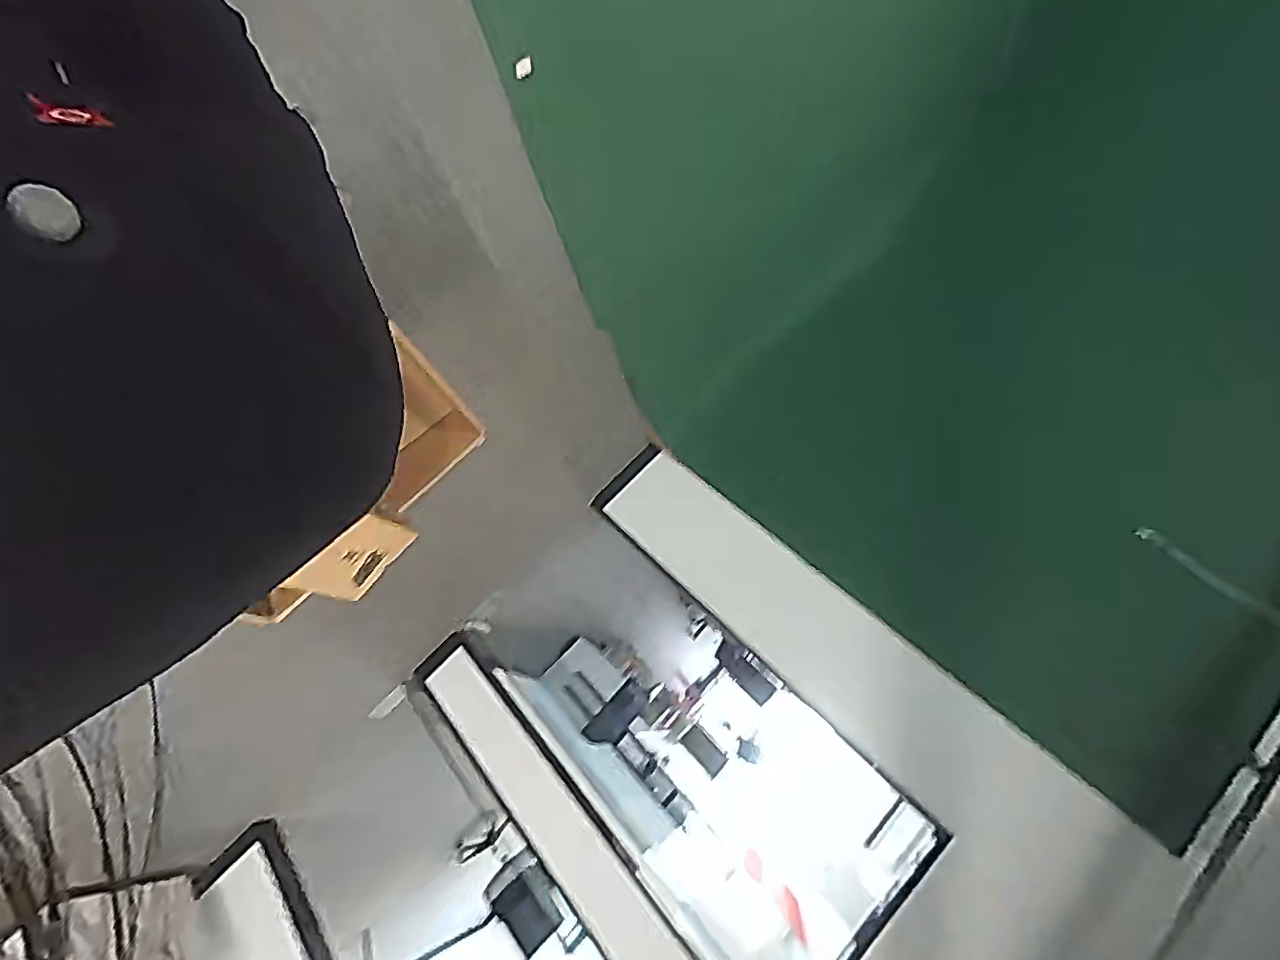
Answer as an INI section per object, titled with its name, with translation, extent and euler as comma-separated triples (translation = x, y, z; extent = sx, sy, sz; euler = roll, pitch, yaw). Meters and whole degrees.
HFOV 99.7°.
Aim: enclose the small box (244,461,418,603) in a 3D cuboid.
[small box]
translation = -0.548, 0.093, 0.967
extent = 0.168, 0.176, 0.179
euler = -50, 153, -6
